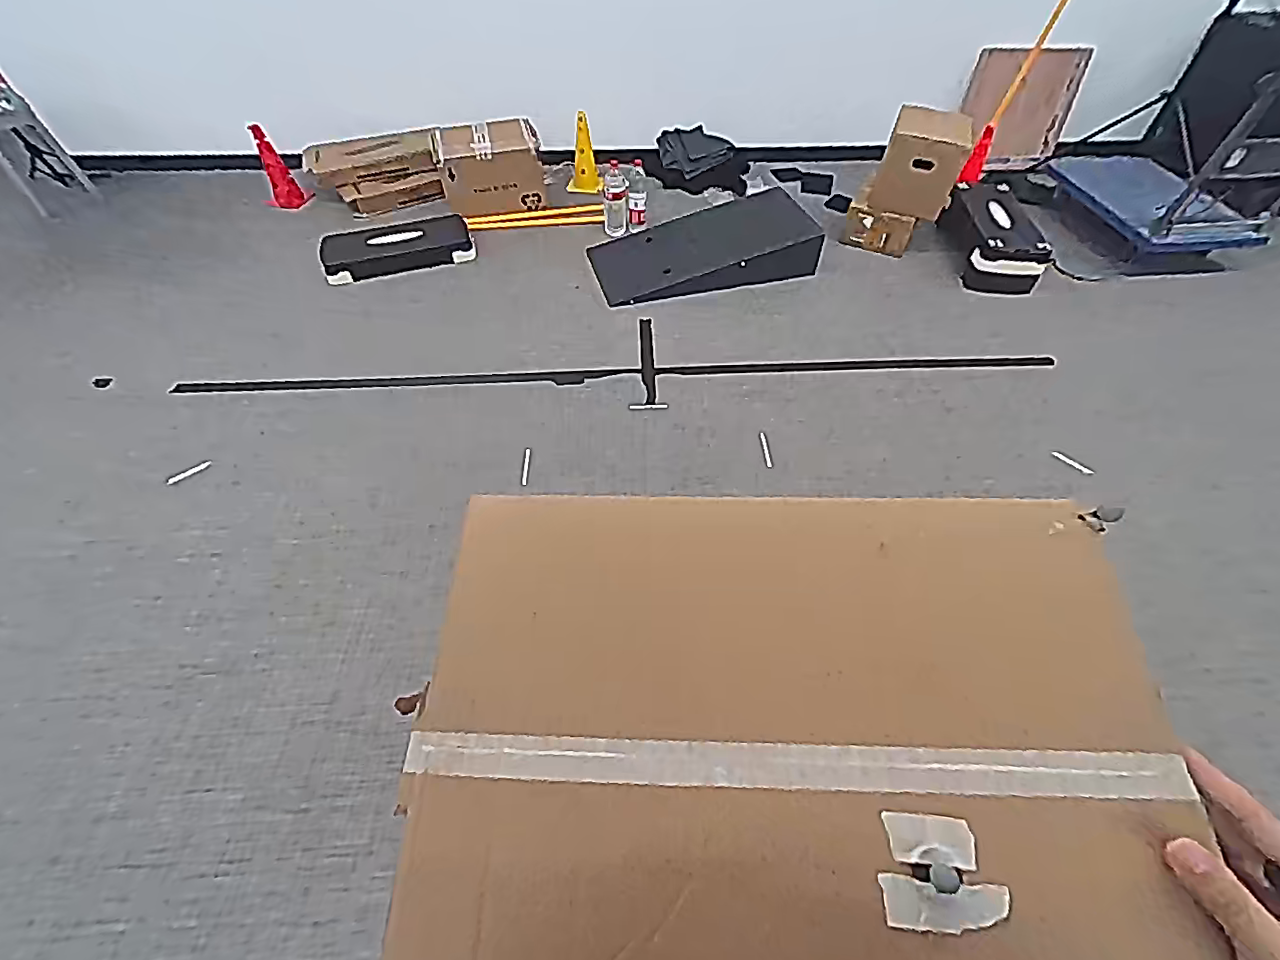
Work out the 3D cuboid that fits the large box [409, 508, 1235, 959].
[{"bbox_3d":[0.088,0.225,0.432,0.408,0.320,0.320,0,64,3],"label":"large box"}]
